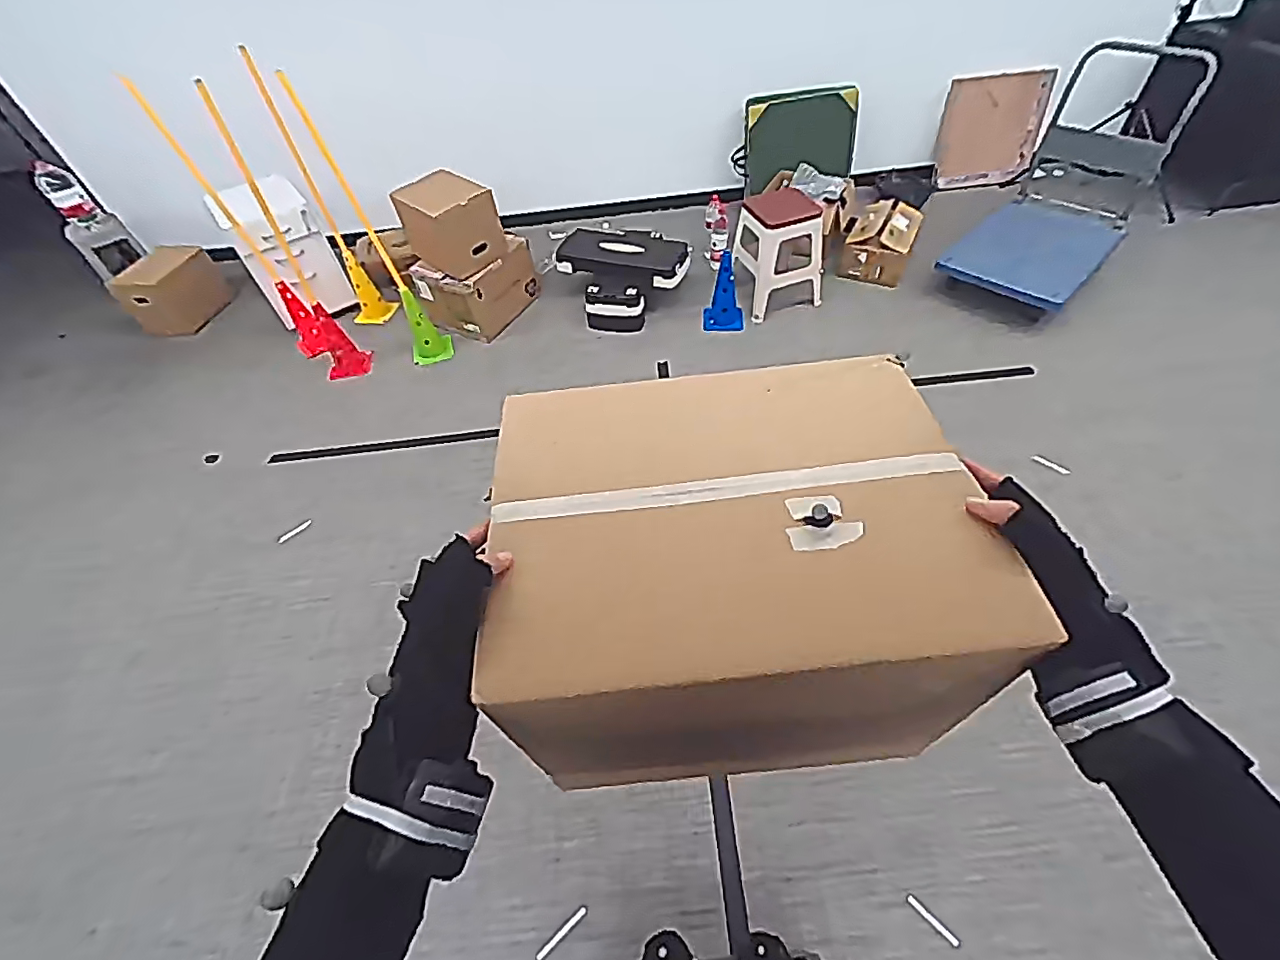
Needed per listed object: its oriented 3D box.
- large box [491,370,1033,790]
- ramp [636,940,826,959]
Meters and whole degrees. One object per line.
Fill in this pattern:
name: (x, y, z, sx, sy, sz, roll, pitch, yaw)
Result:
large box: (0.085, 0.116, 0.594, 0.408, 0.320, 0.320, -7, 50, 0)
ramp: (0.185, 1.402, 0.867, 0.509, 0.206, 0.991, -8, 51, -1)
